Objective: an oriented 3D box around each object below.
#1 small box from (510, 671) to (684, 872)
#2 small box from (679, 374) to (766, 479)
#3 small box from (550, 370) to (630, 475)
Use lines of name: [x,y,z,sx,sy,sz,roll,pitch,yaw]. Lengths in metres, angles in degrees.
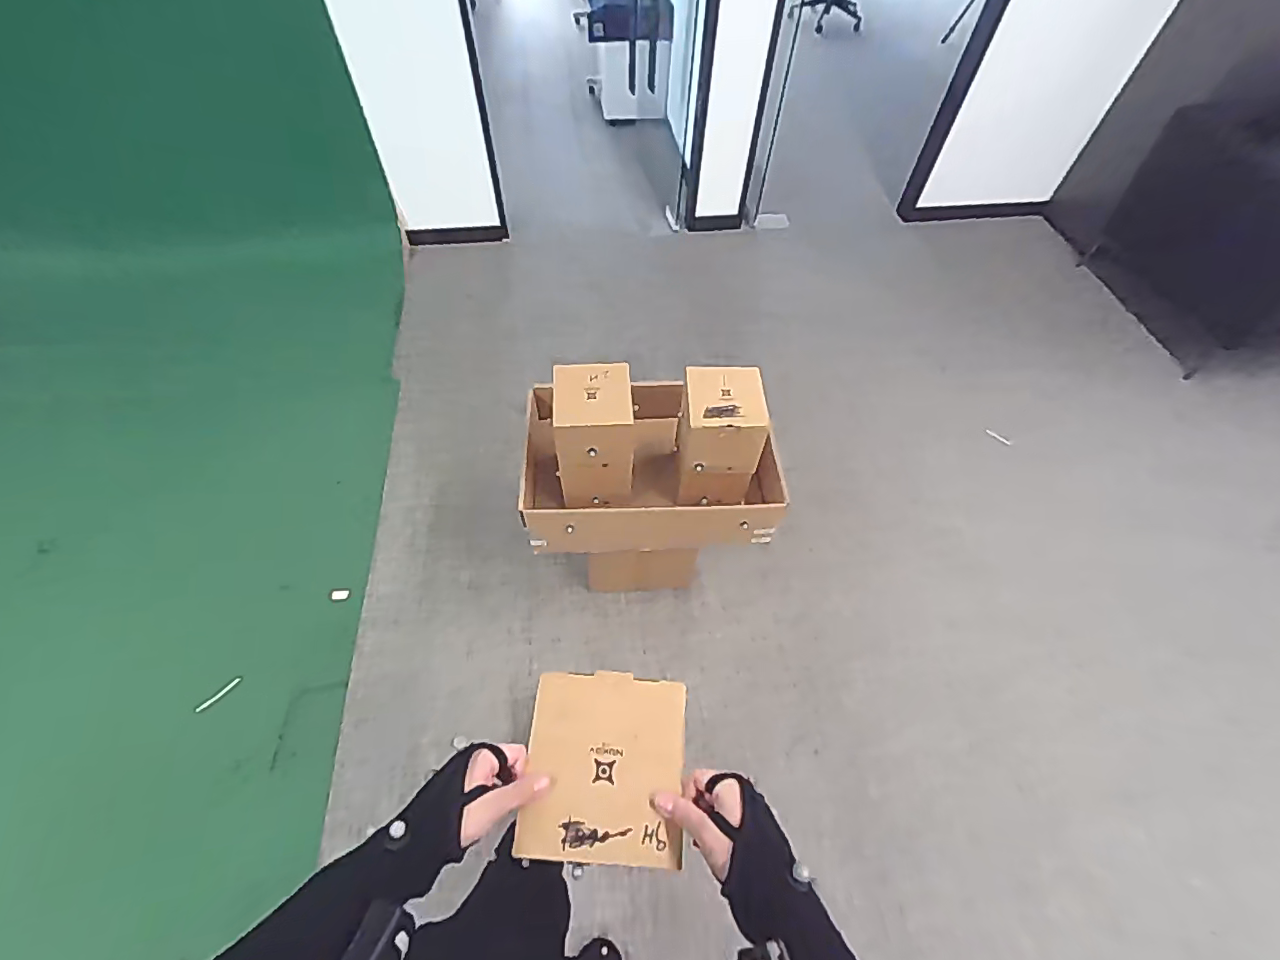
small box: [-0.043,0.339,0.629,0.168,0.176,0.179,5,56,0]
small box: [0.177,-0.117,1.214,0.168,0.176,0.179,1,54,-1]
small box: [-0.107,-0.122,1.203,0.168,0.176,0.179,-2,56,-4]
